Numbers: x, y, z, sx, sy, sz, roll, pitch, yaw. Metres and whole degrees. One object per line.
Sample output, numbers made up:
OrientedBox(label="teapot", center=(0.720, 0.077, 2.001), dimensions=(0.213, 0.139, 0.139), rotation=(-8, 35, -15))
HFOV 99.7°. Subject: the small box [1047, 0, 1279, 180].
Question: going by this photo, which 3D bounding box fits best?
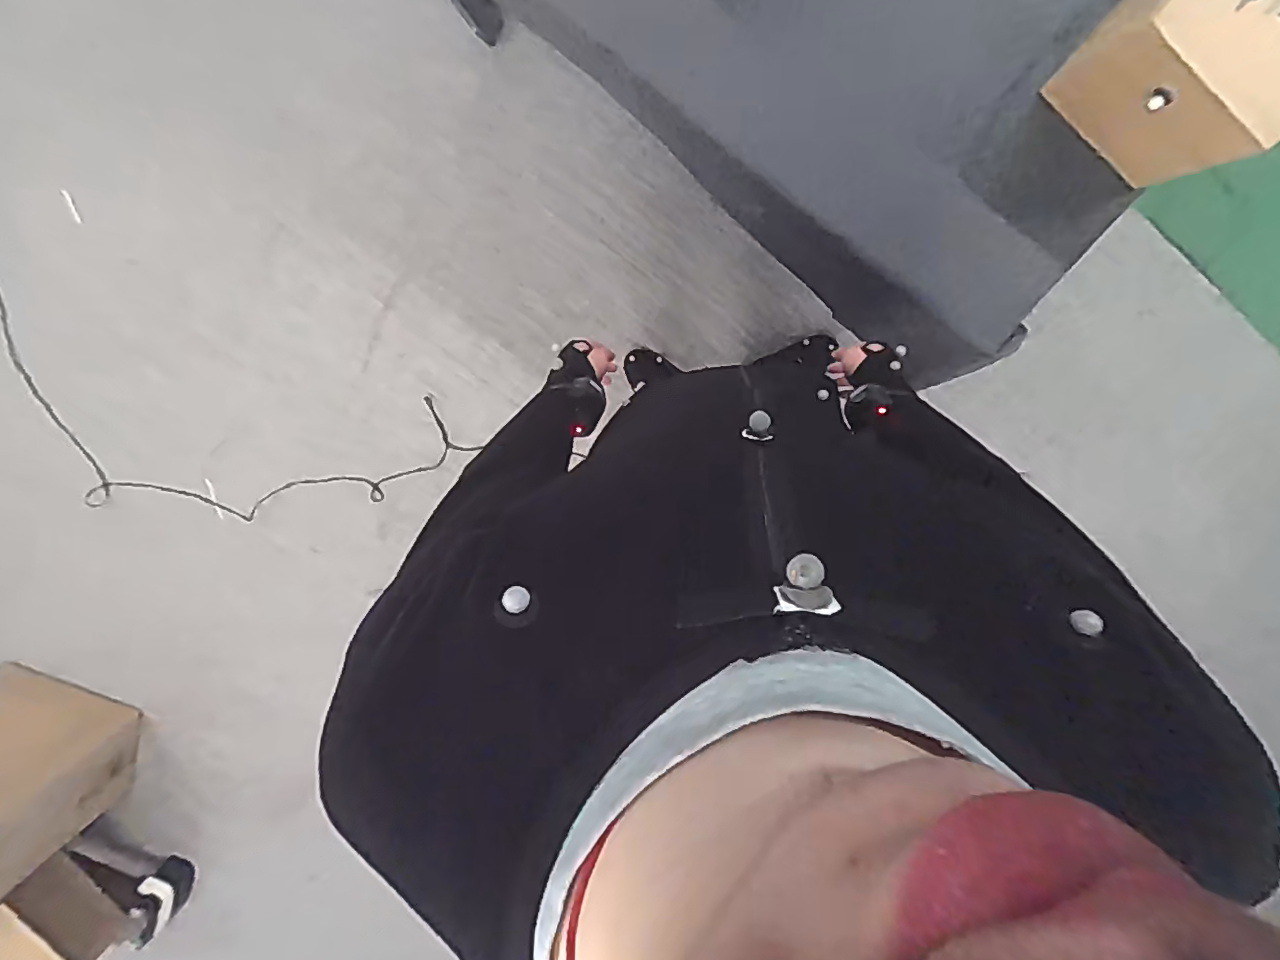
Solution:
OrientedBox(label="small box", center=(0.594, -0.454, 0.570), dimensions=(0.179, 0.176, 0.168), rotation=(38, 105, -8))
